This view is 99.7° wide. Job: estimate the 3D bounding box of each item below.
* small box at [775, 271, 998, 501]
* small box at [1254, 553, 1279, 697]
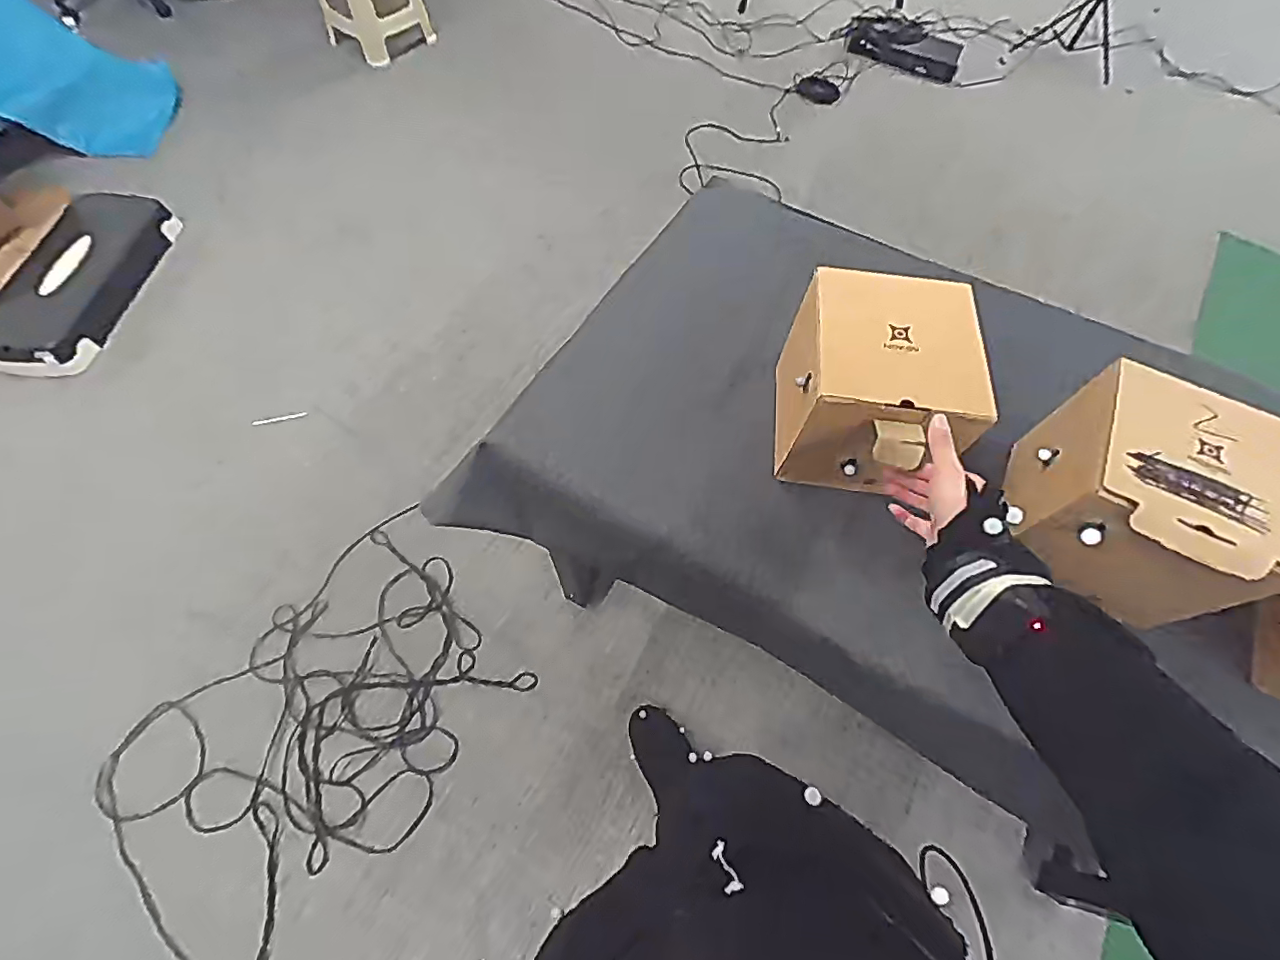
[{"bbox_3d":[0.254,-0.098,0.604,0.168,0.176,0.179,8,63,1],"label":"small box"},{"bbox_3d":[0.729,0.152,0.491,0.168,0.176,0.179,28,64,11],"label":"small box"}]
